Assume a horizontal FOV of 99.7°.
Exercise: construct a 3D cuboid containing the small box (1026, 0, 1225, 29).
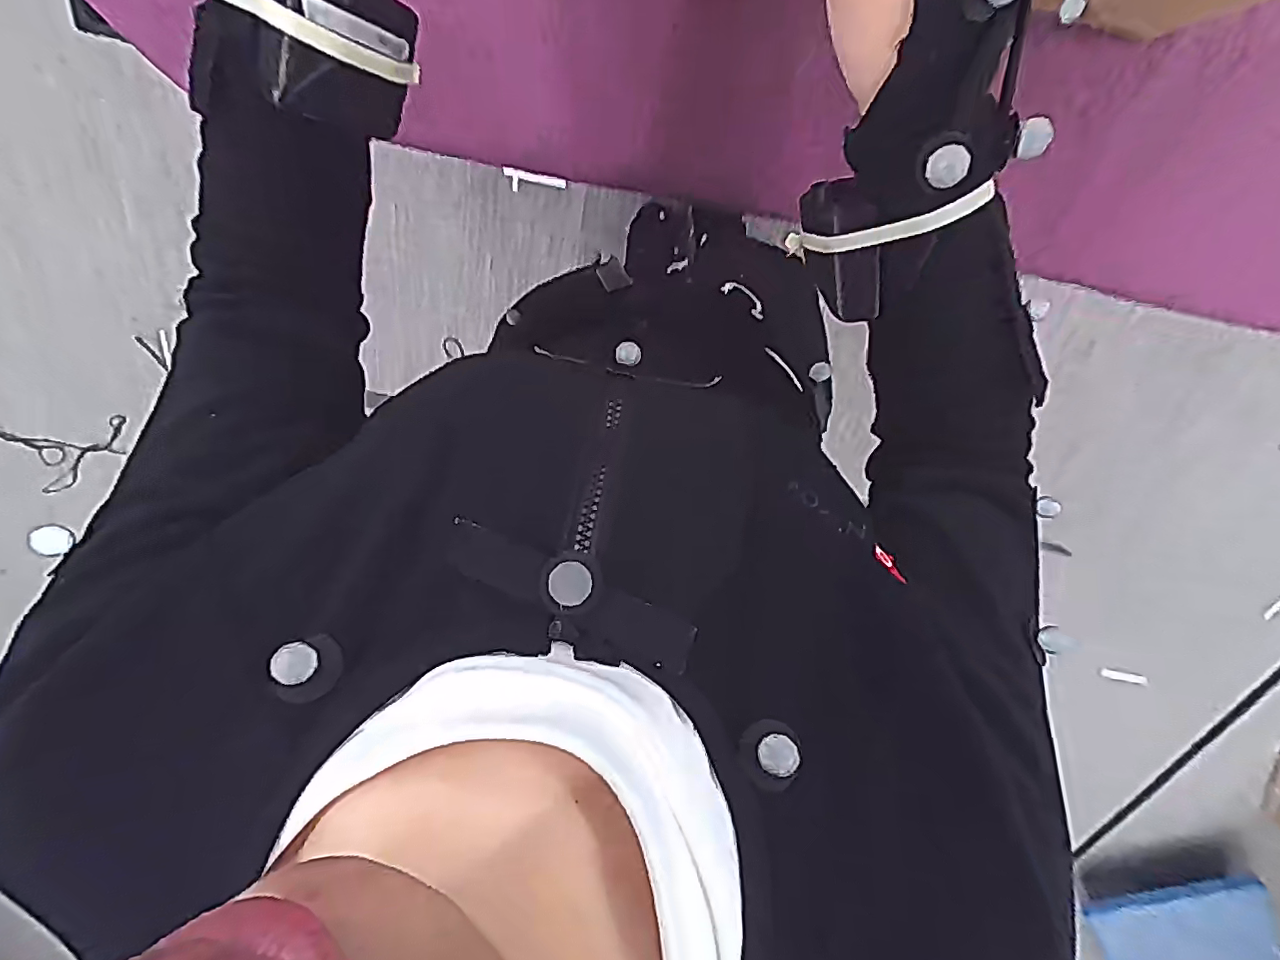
[{"bbox_3d":[0.334,-0.410,0.316,0.168,0.176,0.179,14,119,-3],"label":"small box"}]
